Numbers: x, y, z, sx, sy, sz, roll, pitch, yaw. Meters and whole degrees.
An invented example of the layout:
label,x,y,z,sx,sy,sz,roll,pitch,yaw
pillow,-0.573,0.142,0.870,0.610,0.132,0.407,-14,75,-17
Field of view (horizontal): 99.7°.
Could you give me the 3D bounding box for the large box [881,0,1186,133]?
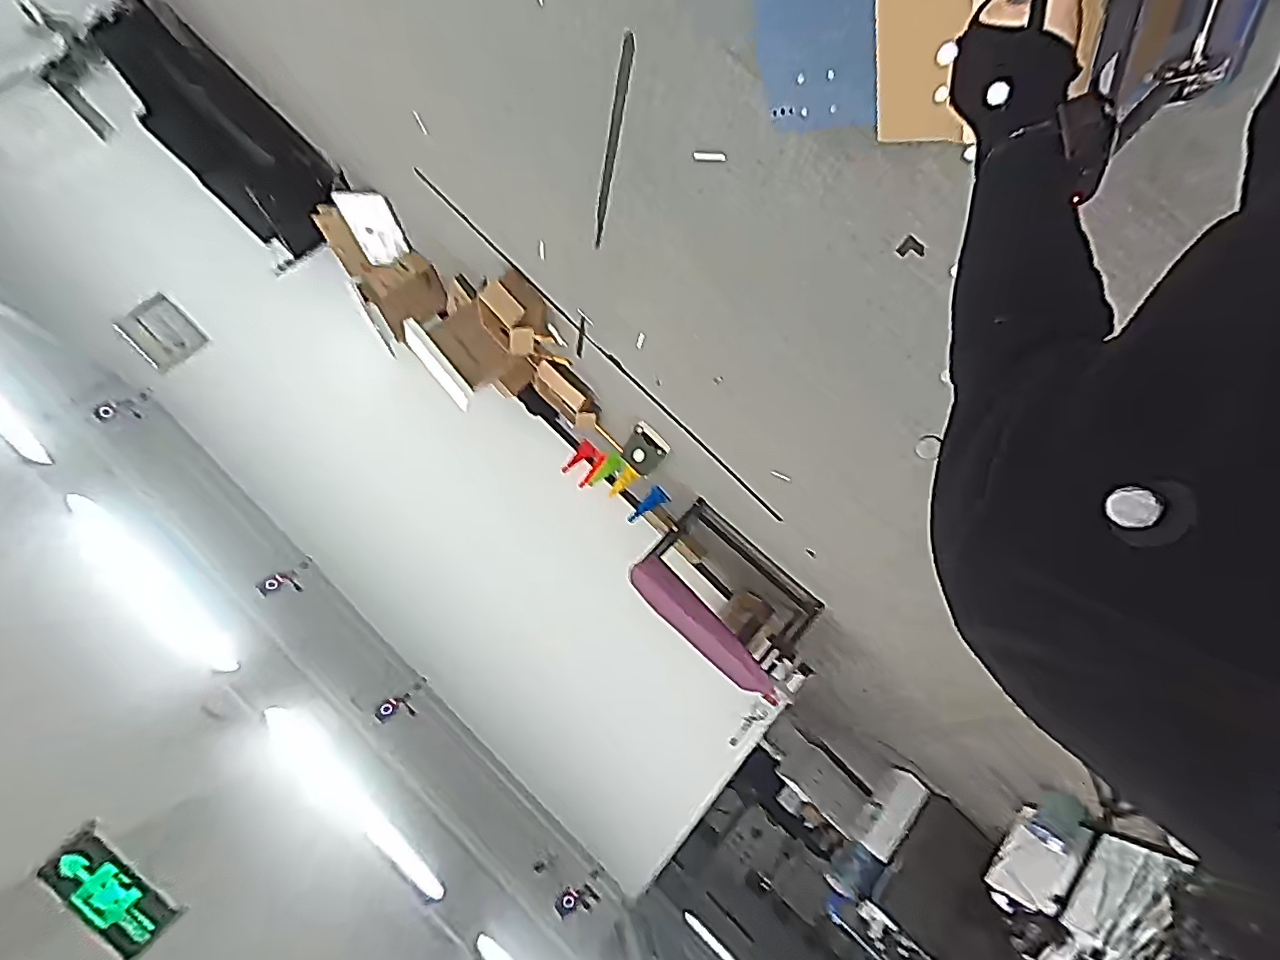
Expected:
label,x,y,z,sx,sy,sz,roll,pitch,yaw
large box,0.563,-0.777,0.755,0.320,0.320,0.408,28,155,41
